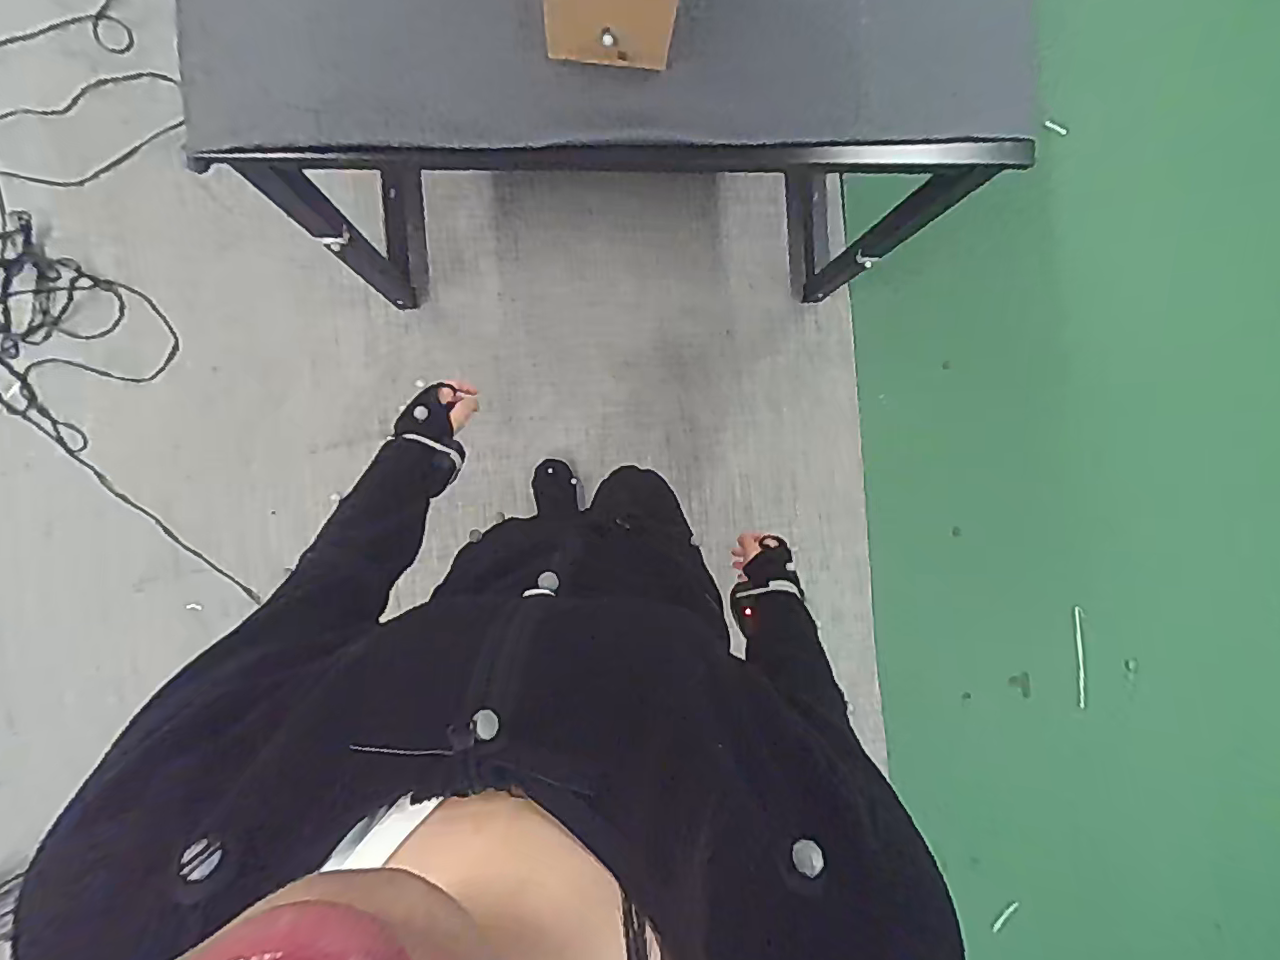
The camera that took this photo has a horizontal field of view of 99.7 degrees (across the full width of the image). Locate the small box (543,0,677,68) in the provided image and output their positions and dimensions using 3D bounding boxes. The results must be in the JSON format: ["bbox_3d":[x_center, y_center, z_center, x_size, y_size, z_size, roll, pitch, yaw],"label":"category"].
[{"bbox_3d":[-0.035,-0.667,0.670,0.168,0.176,0.179,1,90,-6],"label":"small box"}]
